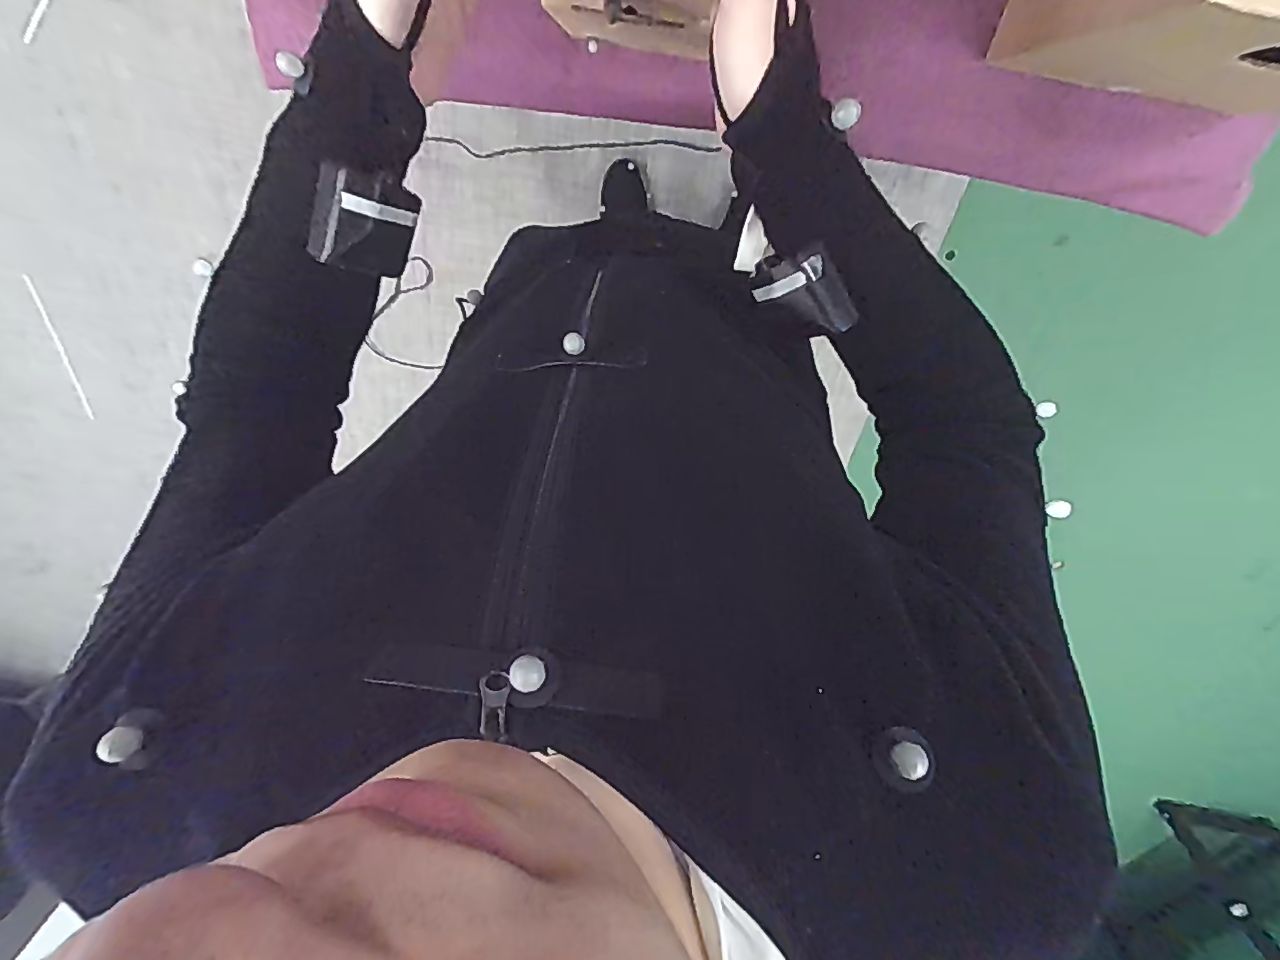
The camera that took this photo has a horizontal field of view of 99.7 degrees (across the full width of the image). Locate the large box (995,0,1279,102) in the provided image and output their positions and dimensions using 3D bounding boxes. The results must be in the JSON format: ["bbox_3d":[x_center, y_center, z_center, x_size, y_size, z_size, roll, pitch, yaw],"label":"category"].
[{"bbox_3d":[0.563,-0.541,0.386,0.320,0.320,0.408,9,123,-1],"label":"large box"}]

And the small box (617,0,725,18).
[{"bbox_3d":[-0.005,-0.436,0.352,0.168,0.176,0.179,10,126,-1],"label":"small box"}]
